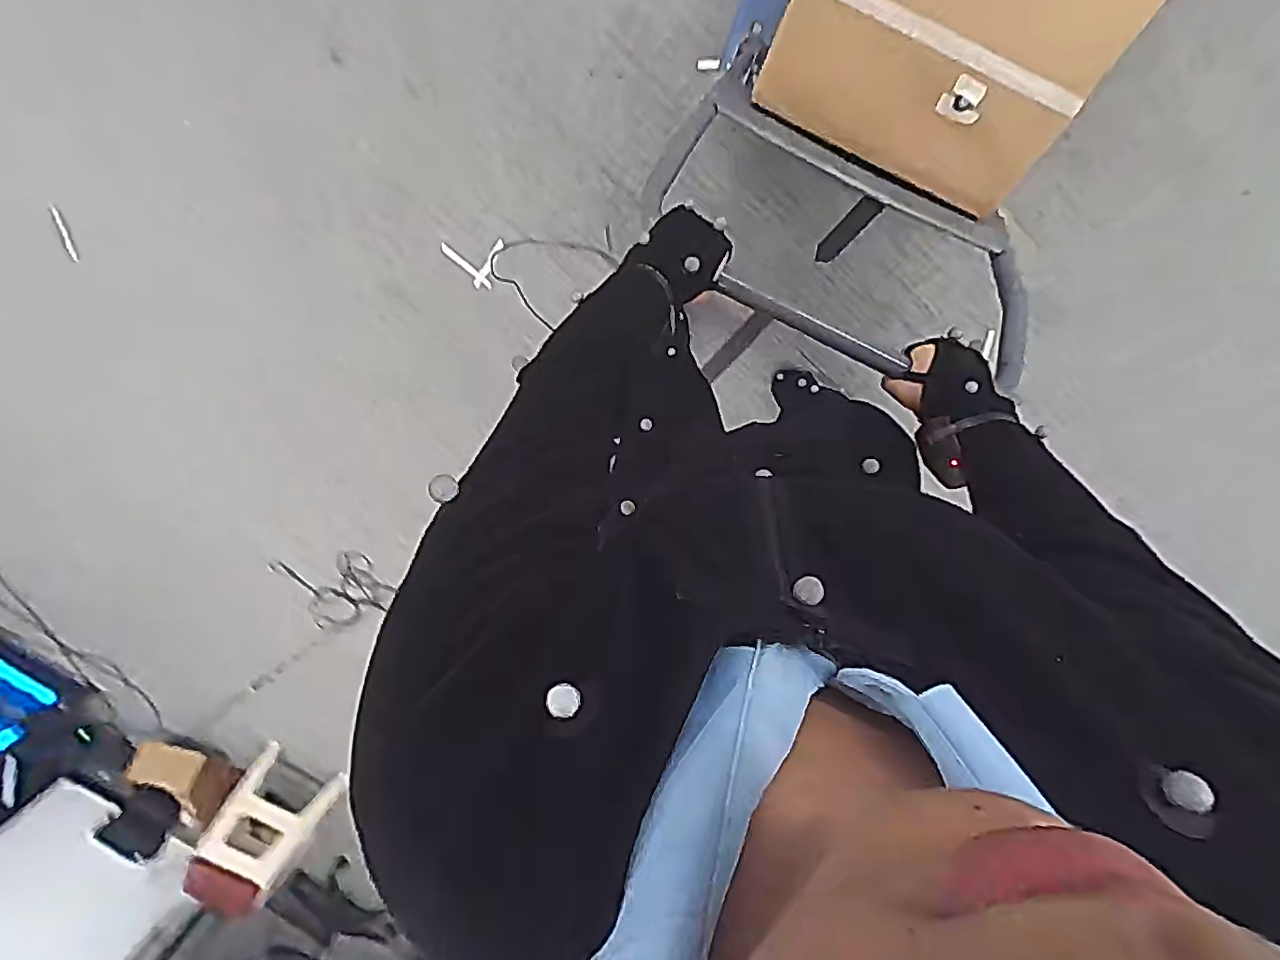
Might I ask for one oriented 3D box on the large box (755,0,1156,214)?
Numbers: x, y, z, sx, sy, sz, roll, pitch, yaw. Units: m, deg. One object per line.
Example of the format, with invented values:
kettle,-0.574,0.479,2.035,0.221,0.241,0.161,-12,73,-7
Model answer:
large box,0.434,-0.680,0.816,0.408,0.320,0.320,24,137,-3
